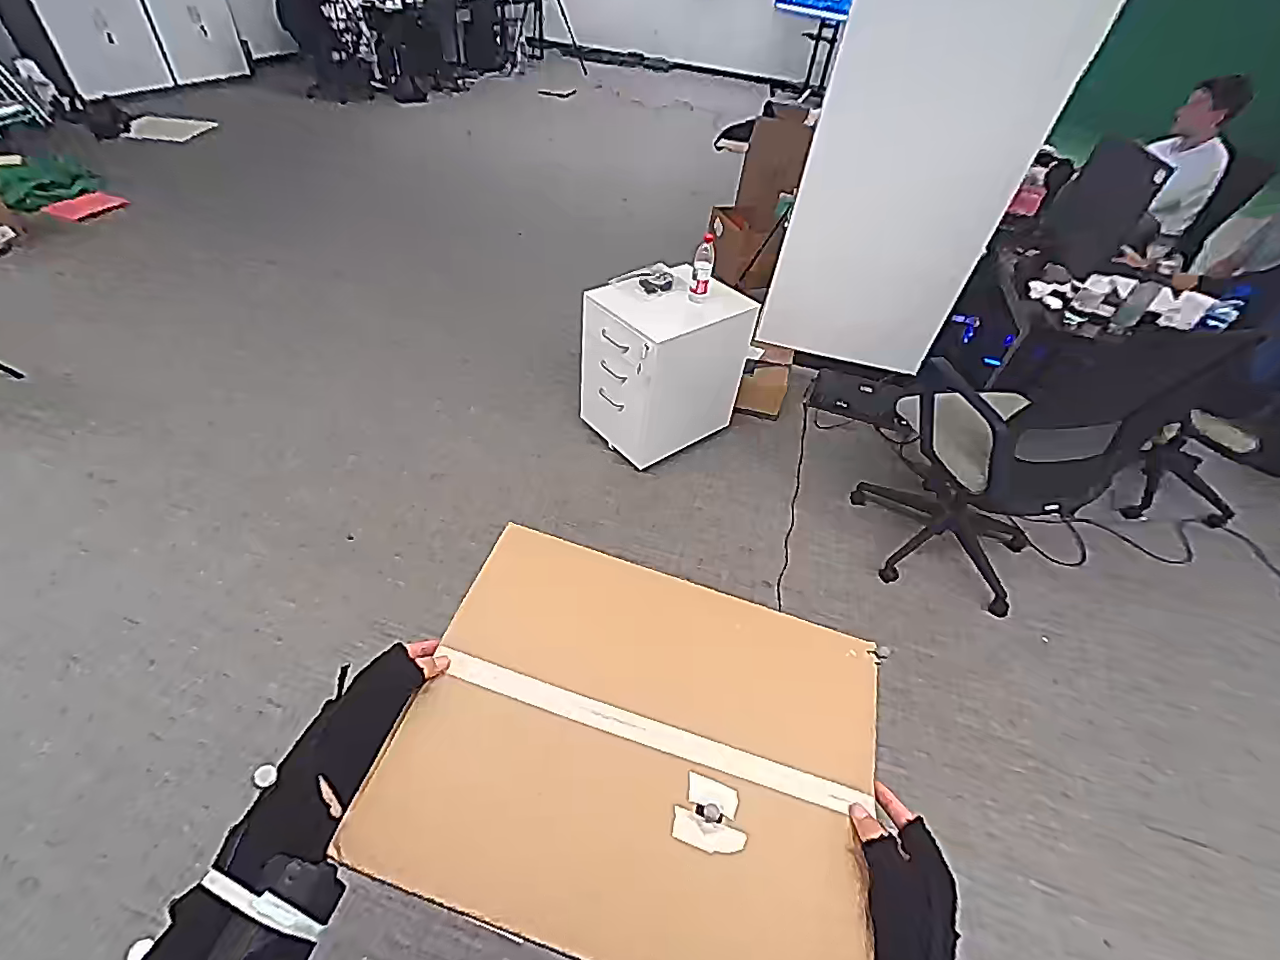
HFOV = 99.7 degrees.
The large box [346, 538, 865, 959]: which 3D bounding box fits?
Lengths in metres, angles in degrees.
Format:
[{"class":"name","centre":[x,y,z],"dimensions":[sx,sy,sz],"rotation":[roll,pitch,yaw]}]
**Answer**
[{"class":"large box","centre":[-0.017,0.322,0.600],"dimensions":[0.408,0.320,0.320],"rotation":[18,52,4]}]
